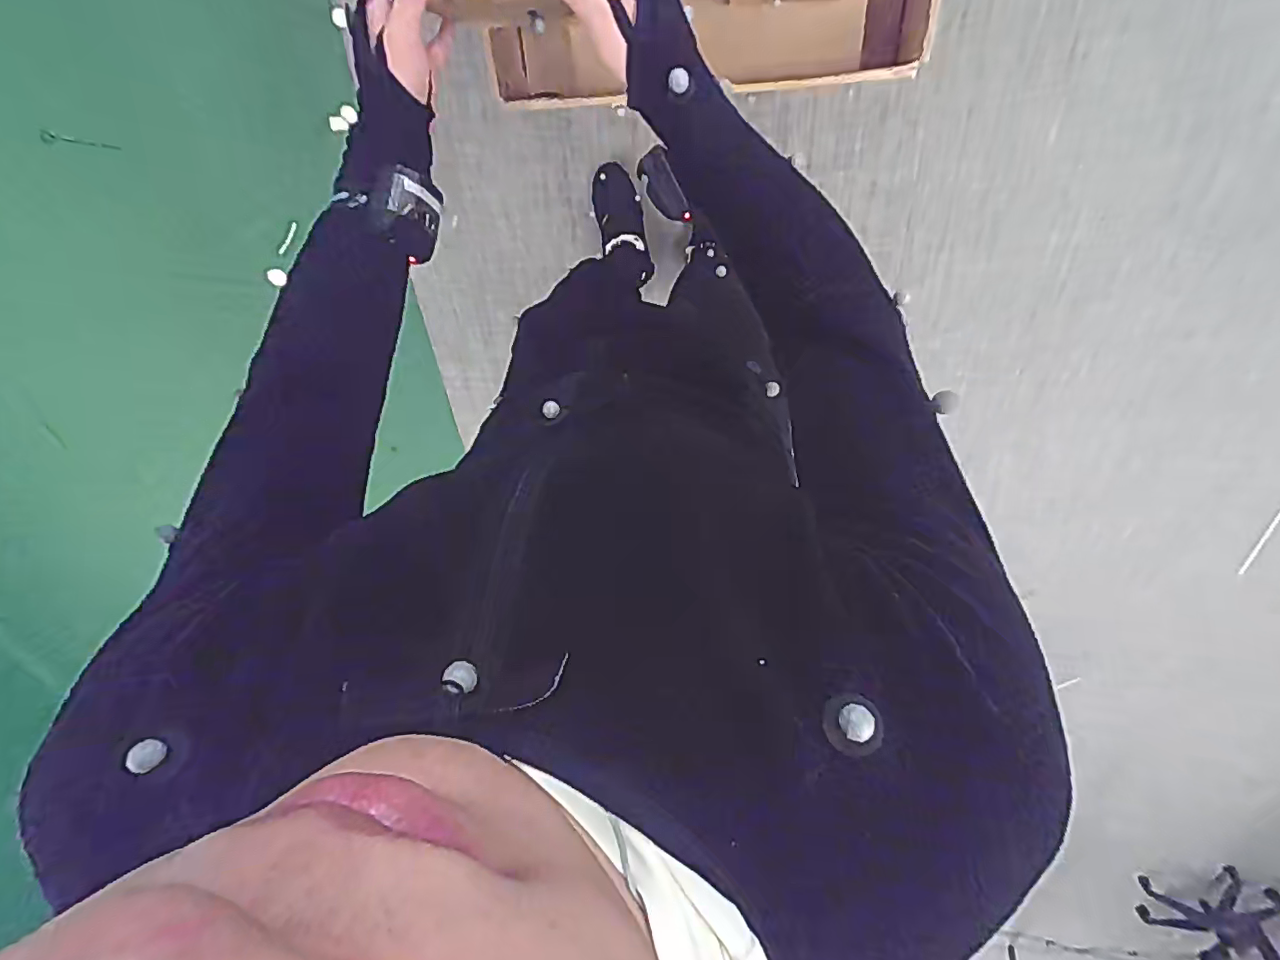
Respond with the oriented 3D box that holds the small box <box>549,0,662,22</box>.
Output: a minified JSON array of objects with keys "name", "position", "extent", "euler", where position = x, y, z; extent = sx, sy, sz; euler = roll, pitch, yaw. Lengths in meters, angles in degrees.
[{"name":"small box","position":[-0.062,-0.742,0.729],"extent":[0.179,0.176,0.168],"euler":[0,125,8]}]

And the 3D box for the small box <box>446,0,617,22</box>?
[{"name":"small box","position":[-0.110,-0.506,0.439],"extent":[0.168,0.176,0.179],"euler":[-1,124,9]}]
